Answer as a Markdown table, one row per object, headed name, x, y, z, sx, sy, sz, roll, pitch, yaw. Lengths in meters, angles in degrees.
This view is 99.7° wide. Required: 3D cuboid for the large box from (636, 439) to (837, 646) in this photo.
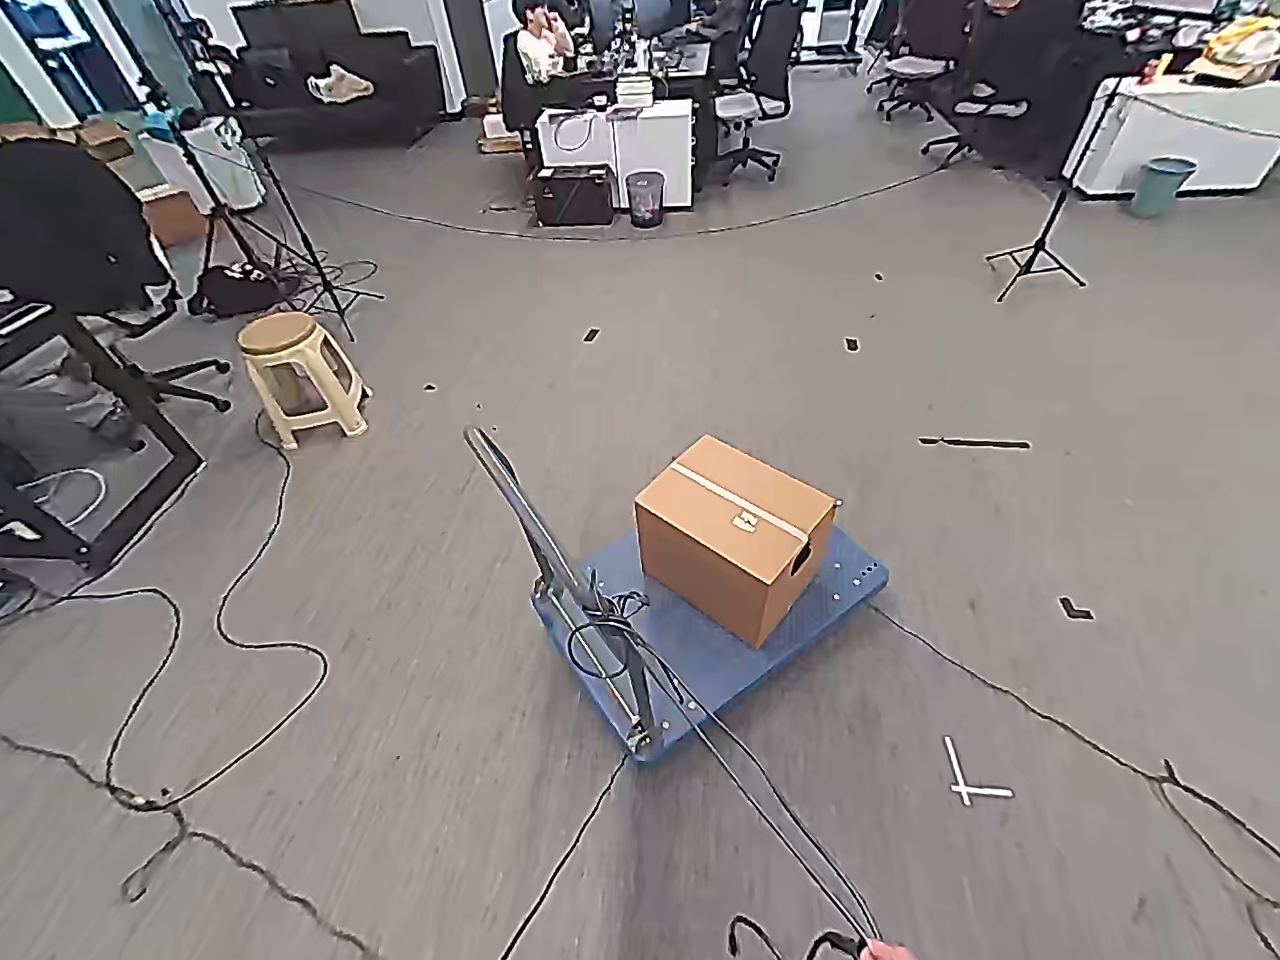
| name | x | y | z | sx | sy | sz | roll | pitch | yaw |
| --- | --- | --- | --- | --- | --- | --- | --- | --- | --- |
| large box | 0.241 | 0.158 | 1.448 | 0.408 | 0.320 | 0.320 | 31 | 57 | 29 |
